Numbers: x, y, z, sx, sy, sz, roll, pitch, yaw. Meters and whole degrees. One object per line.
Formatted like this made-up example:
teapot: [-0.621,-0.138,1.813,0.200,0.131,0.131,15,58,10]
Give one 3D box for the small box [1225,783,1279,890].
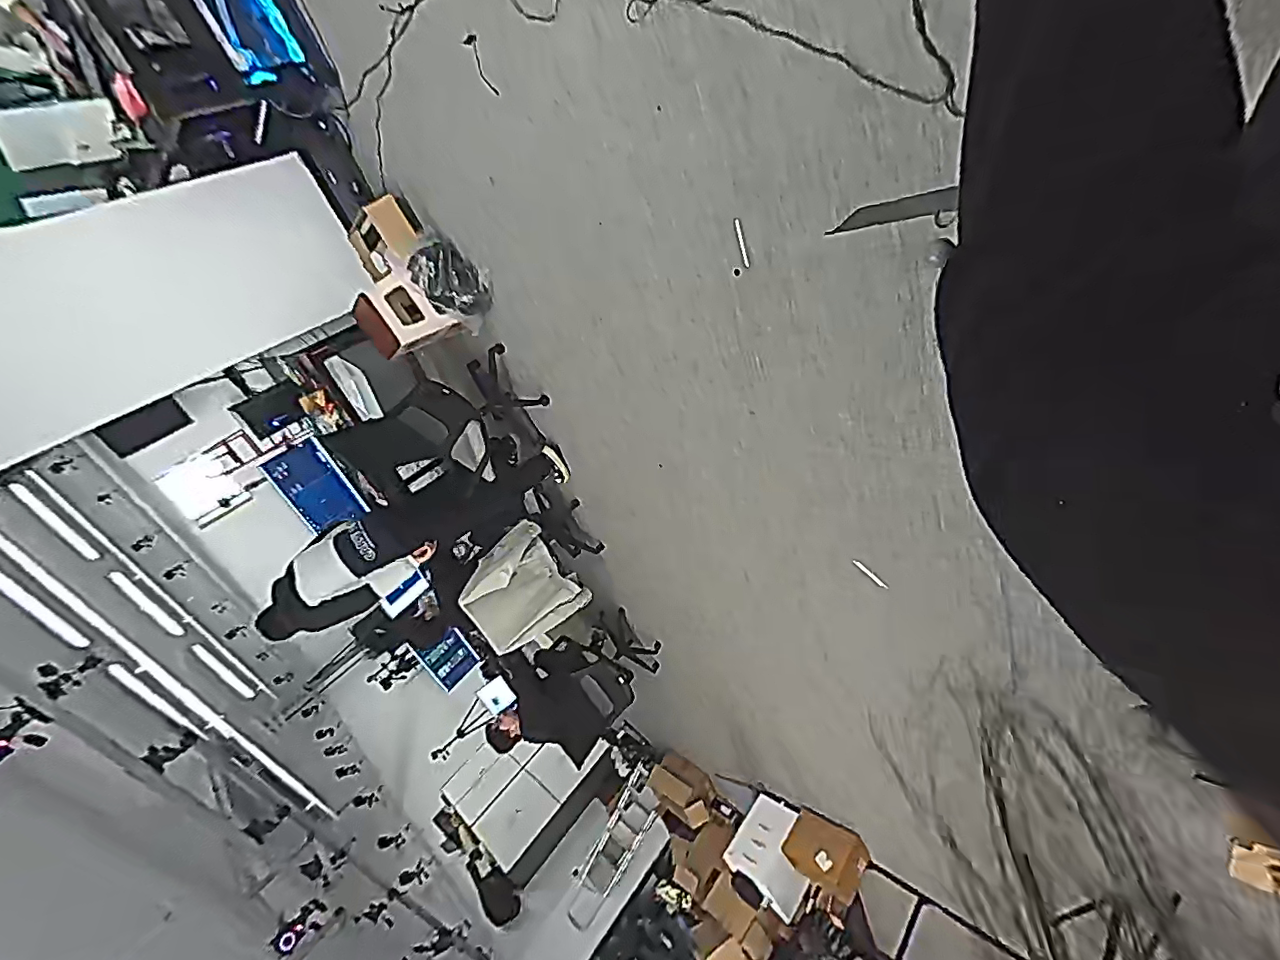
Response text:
small box: [1.625,0.919,1.378,0.168,0.176,0.179,7,132,48]
